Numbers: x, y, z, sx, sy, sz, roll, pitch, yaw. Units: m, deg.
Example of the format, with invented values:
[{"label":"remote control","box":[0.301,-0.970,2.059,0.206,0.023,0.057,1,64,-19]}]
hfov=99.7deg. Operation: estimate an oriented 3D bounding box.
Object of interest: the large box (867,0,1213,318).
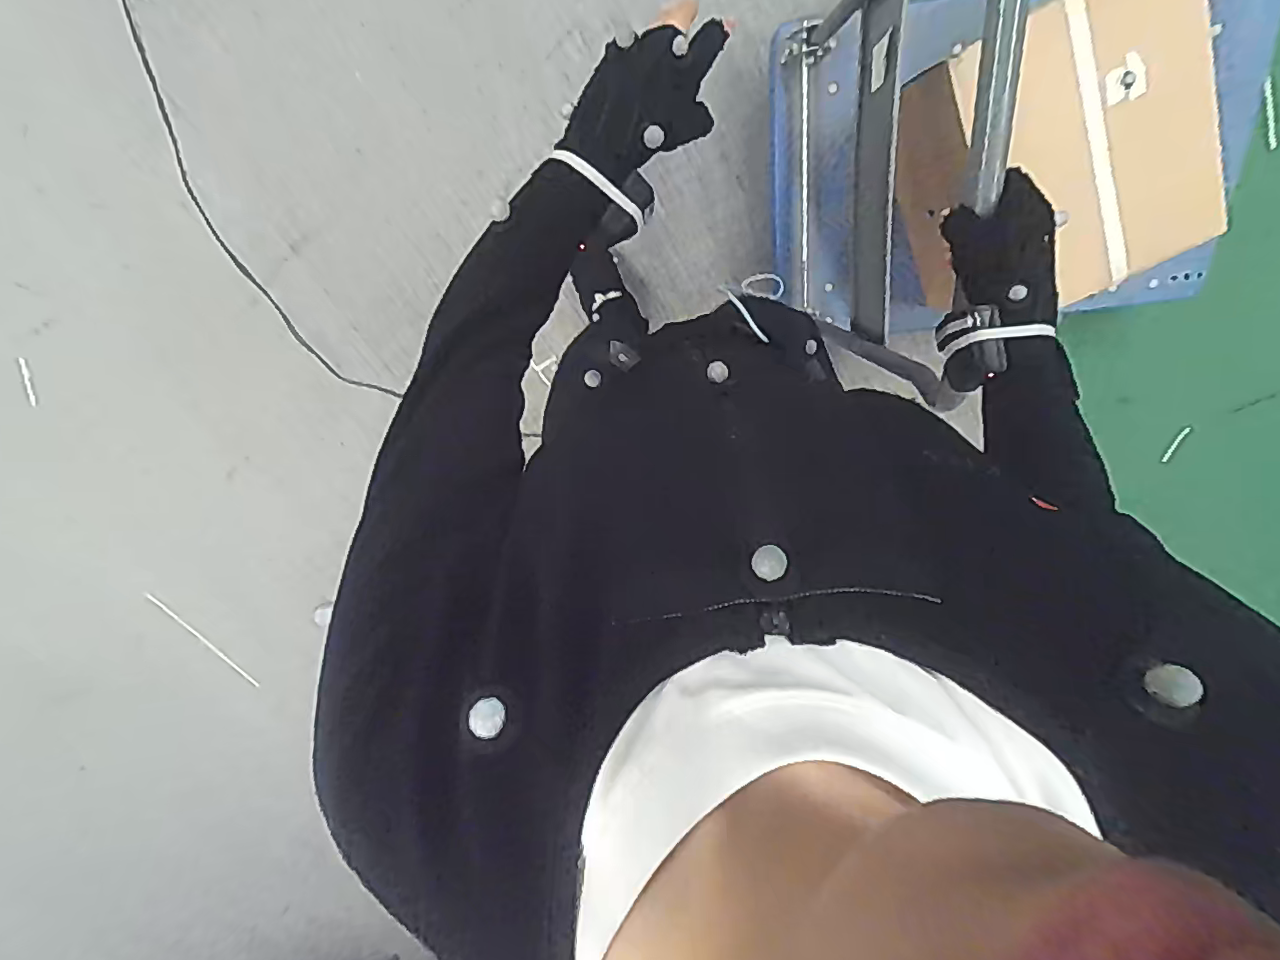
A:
[{"label":"large box","box":[0.637,-0.540,0.911,0.320,0.320,0.408,-24,110,12]}]
